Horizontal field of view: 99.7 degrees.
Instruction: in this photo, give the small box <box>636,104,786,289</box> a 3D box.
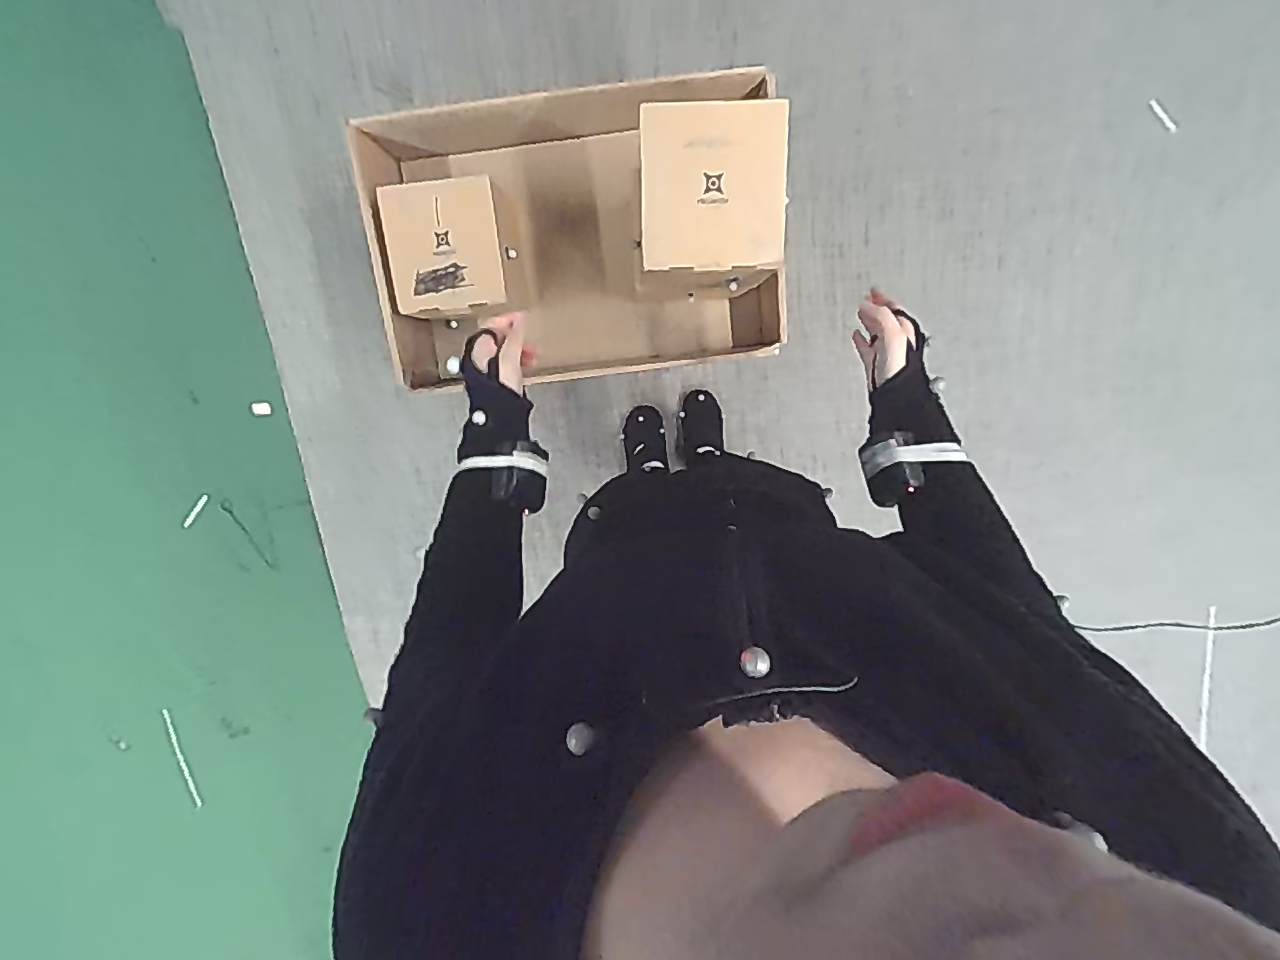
[{"bbox_3d":[0.079,-0.342,0.687,0.168,0.176,0.179,0,101,0],"label":"small box"}]
